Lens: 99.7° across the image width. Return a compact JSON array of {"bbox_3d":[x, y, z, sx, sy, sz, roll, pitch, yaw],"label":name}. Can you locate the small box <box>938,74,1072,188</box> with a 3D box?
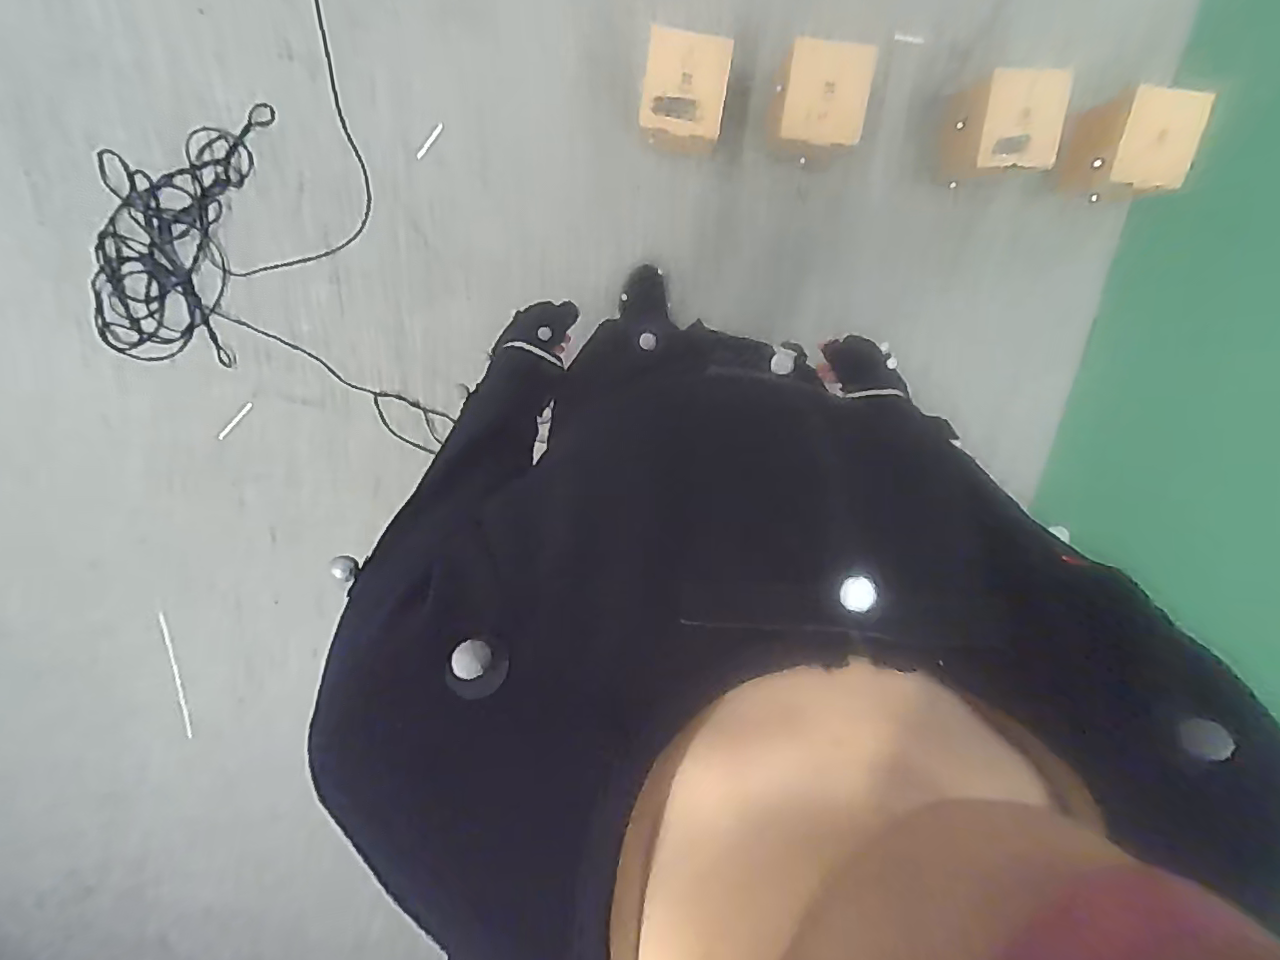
[{"bbox_3d":[0.780,-0.749,1.178,0.168,0.176,0.179,0,107,-1],"label":"small box"}]

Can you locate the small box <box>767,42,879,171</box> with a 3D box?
[{"bbox_3d":[0.380,-0.790,1.159,0.168,0.176,0.179,6,108,-1],"label":"small box"}]

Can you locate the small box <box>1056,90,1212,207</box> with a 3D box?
[{"bbox_3d":[1.071,-0.720,1.191,0.168,0.176,0.179,4,108,-1],"label":"small box"}]
